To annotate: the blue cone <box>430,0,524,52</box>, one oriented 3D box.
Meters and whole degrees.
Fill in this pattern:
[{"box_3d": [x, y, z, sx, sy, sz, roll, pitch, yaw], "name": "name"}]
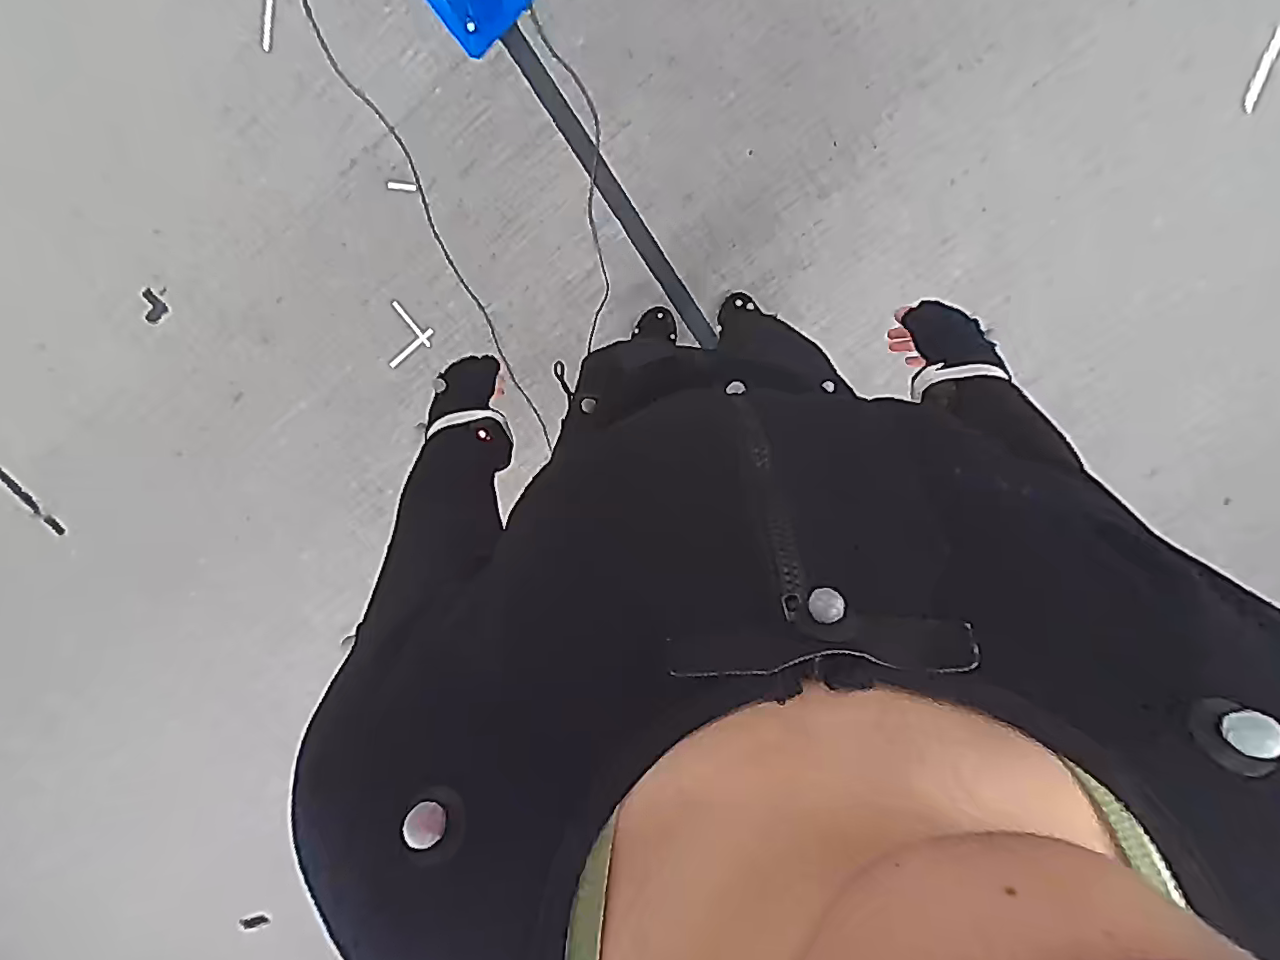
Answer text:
[{"box_3d": [-0.353, -1.000, 0.994, 0.192, 0.380, 0.193, -39, 104, 12], "name": "blue cone"}]
